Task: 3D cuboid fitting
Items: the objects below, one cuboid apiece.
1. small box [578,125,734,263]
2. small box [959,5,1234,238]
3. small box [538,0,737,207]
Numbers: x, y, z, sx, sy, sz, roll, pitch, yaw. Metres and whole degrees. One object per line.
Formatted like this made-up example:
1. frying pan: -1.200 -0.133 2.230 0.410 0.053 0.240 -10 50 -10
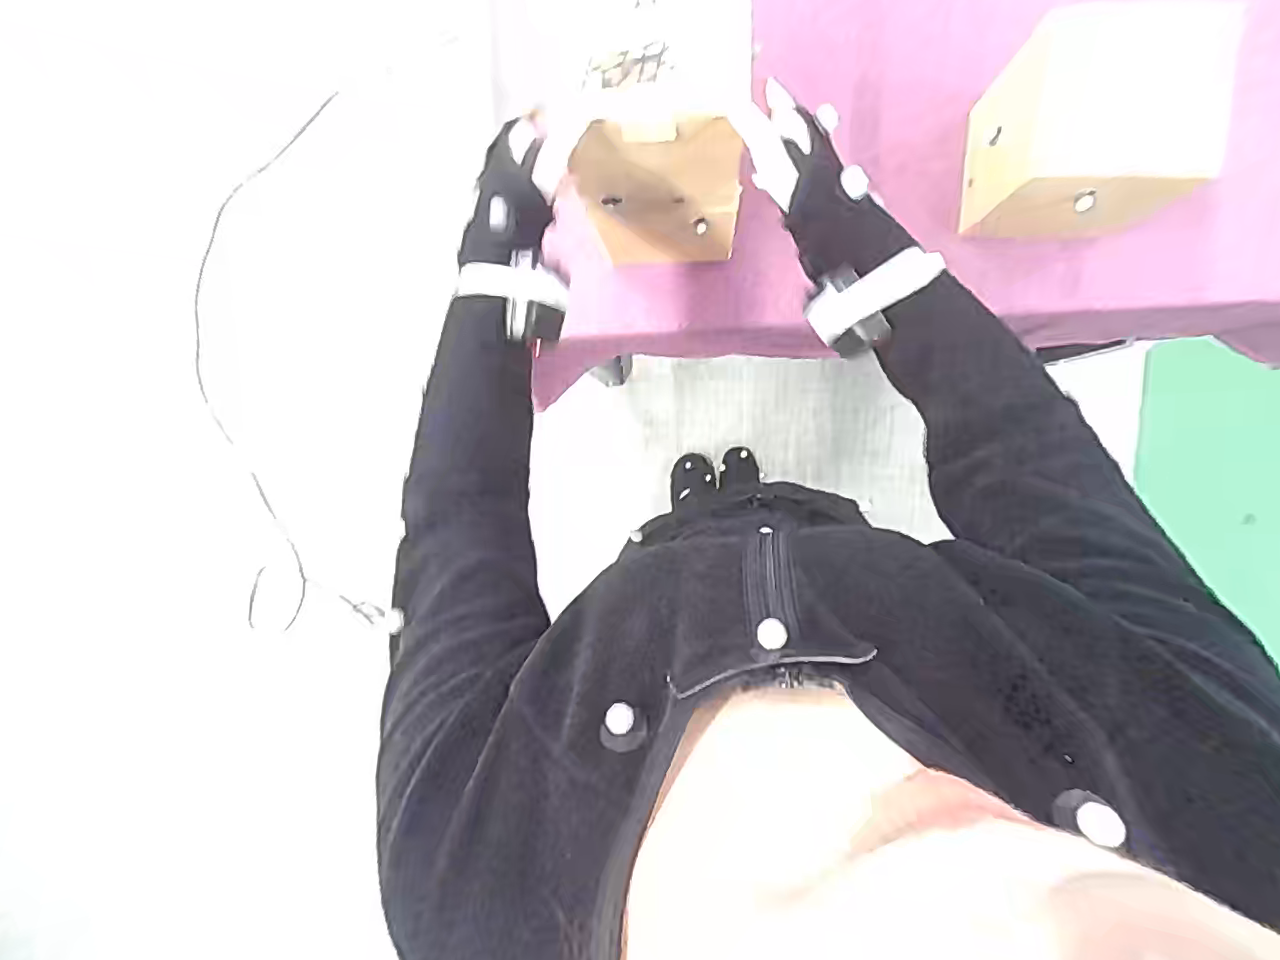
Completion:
1. small box: 0.026 -0.385 0.681 0.179 0.176 0.168 0 93 6
2. small box: 0.500 -0.395 0.624 0.179 0.176 0.168 5 94 6
3. small box: 0.006 -0.381 0.517 0.168 0.176 0.179 0 91 6
